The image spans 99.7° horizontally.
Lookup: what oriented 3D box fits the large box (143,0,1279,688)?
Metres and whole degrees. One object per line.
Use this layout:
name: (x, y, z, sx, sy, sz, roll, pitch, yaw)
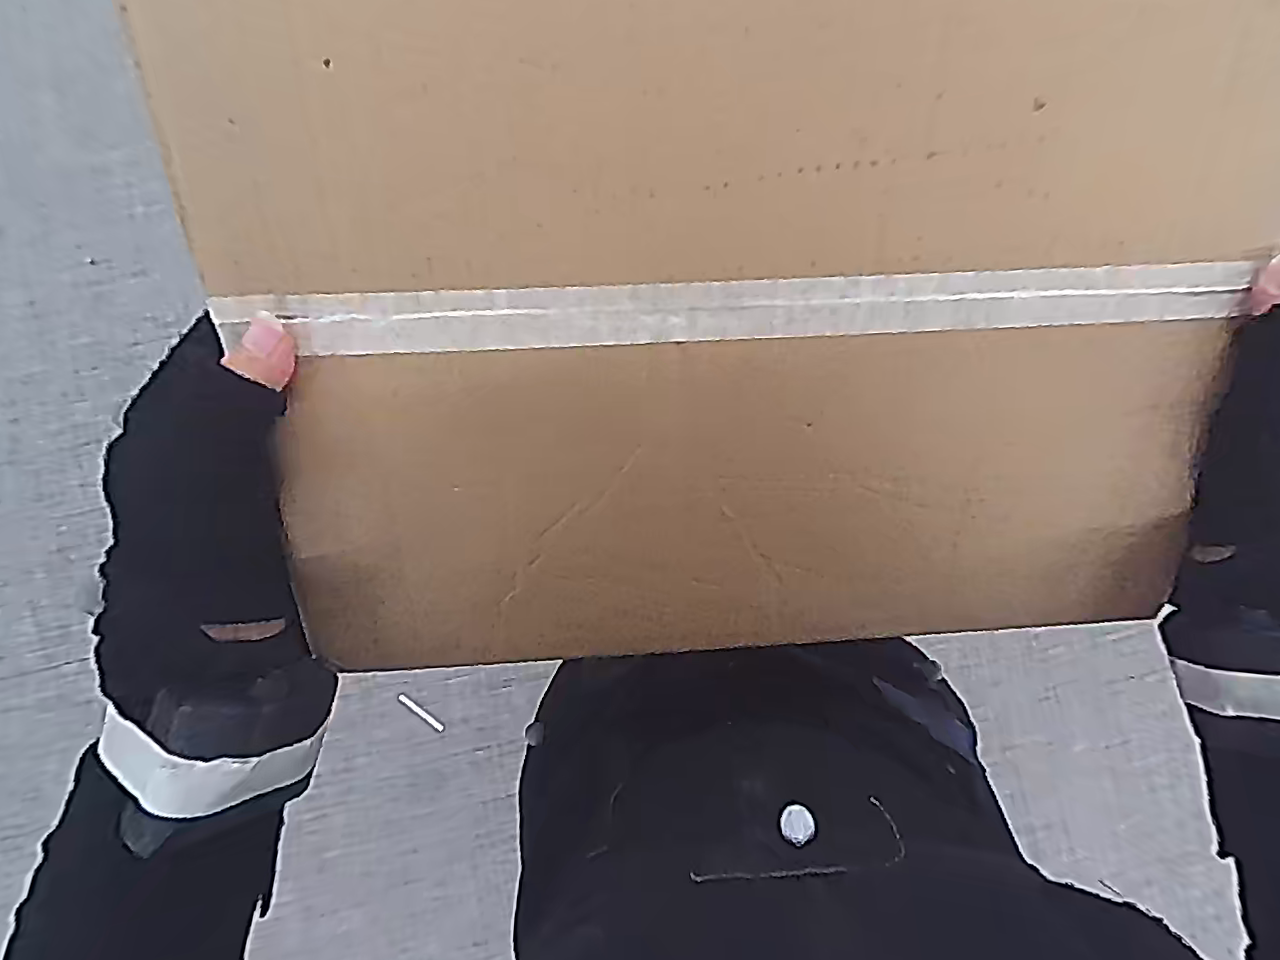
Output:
large box: (0.042, -0.108, 0.354, 0.408, 0.320, 0.320, -3, 111, -3)
